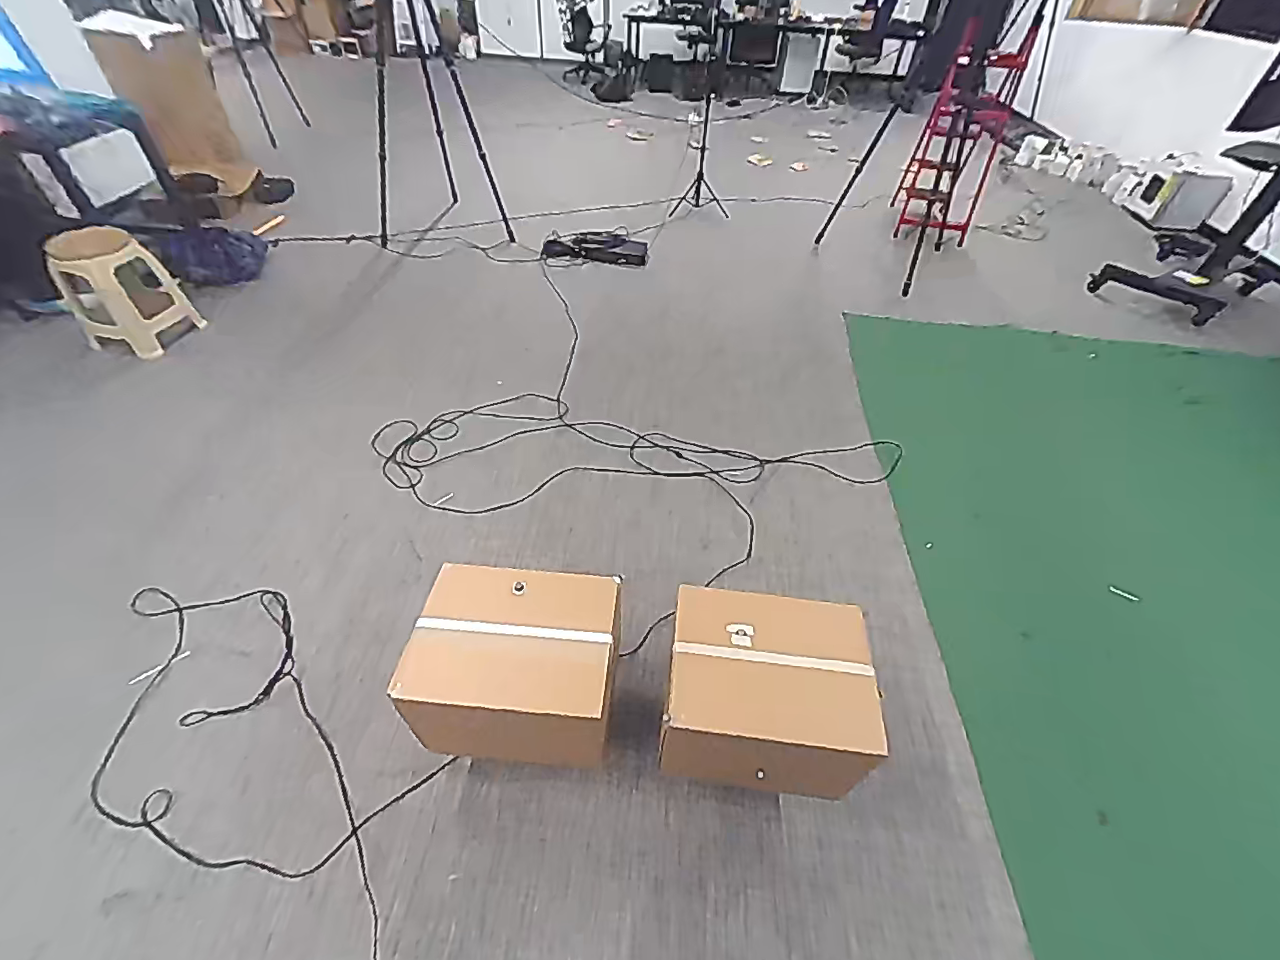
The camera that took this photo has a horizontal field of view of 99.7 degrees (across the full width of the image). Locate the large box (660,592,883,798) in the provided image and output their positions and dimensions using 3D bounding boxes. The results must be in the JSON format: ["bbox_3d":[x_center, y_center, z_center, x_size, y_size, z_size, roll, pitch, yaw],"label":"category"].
[{"bbox_3d":[0.265,0.484,1.211,0.408,0.320,0.320,7,46,4],"label":"large box"}]
